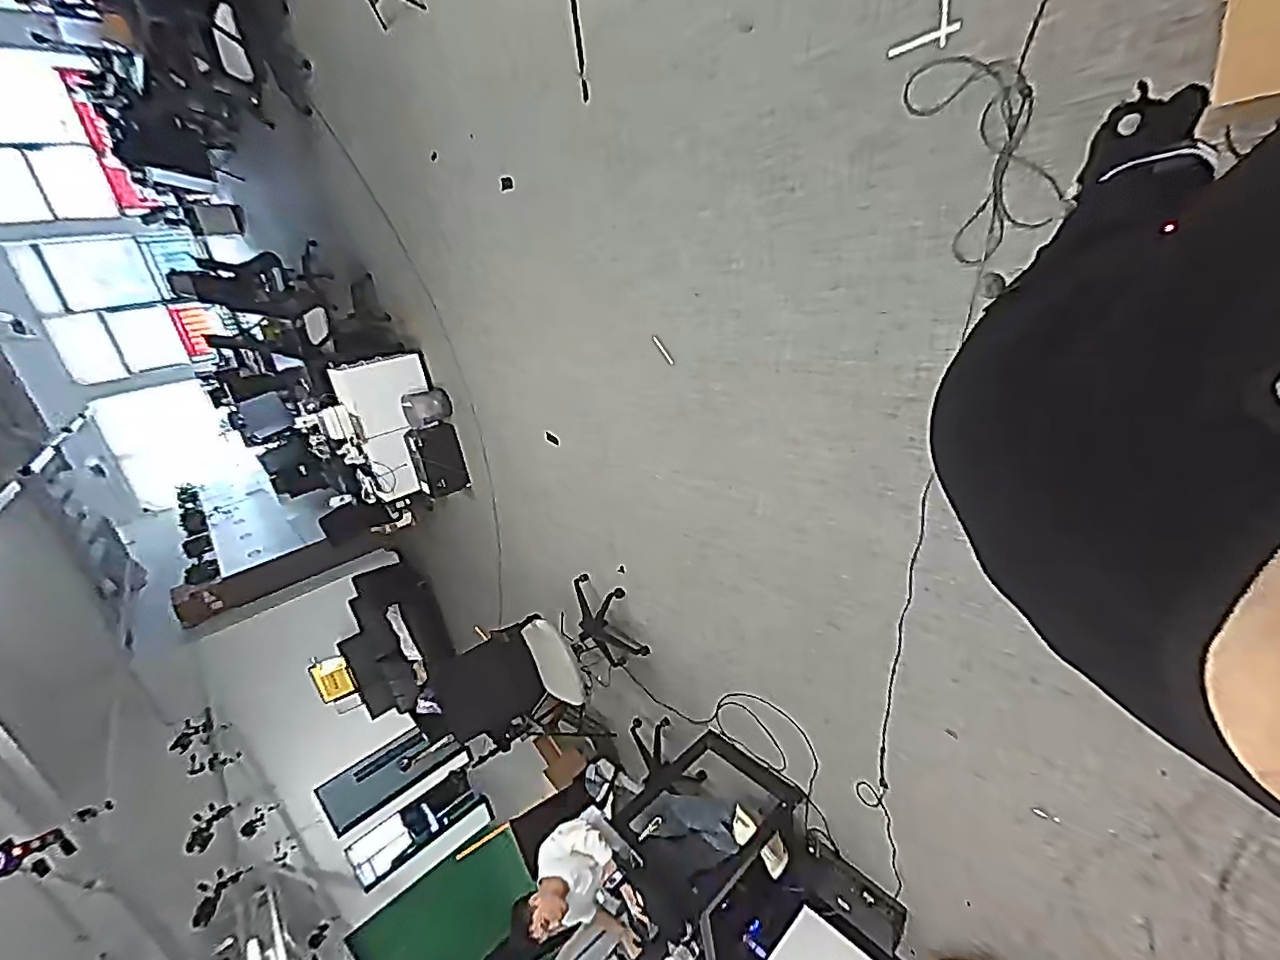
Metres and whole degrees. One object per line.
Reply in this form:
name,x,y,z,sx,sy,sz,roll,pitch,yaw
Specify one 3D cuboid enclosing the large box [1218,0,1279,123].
large box,1.017,-0.683,0.649,0.408,0.320,0.320,13,118,47
